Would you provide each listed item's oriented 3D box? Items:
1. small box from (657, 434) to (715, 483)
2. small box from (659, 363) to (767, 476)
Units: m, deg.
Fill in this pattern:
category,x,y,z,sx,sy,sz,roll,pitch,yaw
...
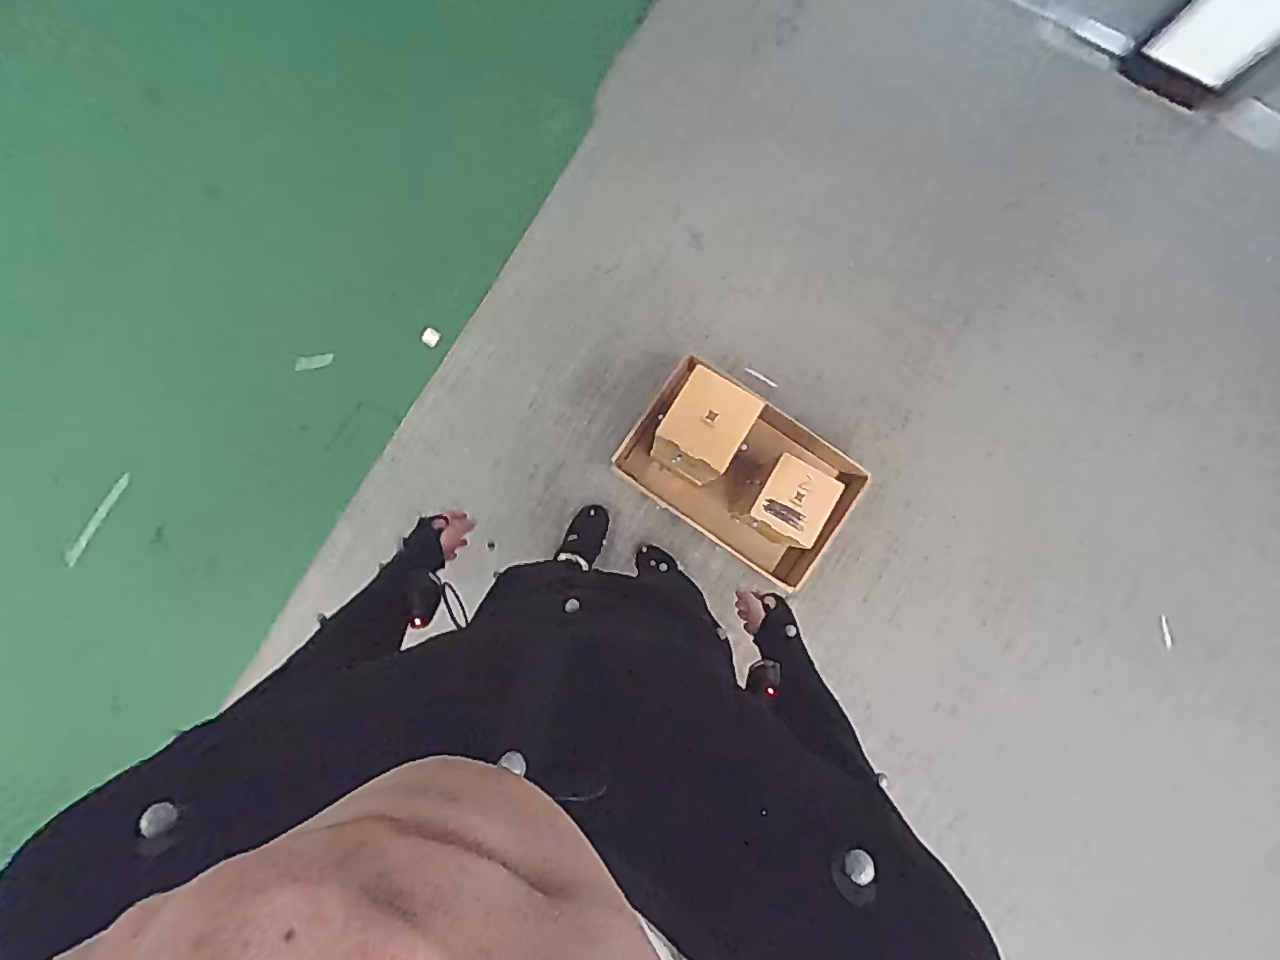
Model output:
category,x,y,z,sx,sy,sz,roll,pitch,yaw
small box,0.151,-0.110,1.352,0.168,0.176,0.179,33,86,4
small box,0.150,-0.124,1.190,0.168,0.176,0.179,32,87,3
